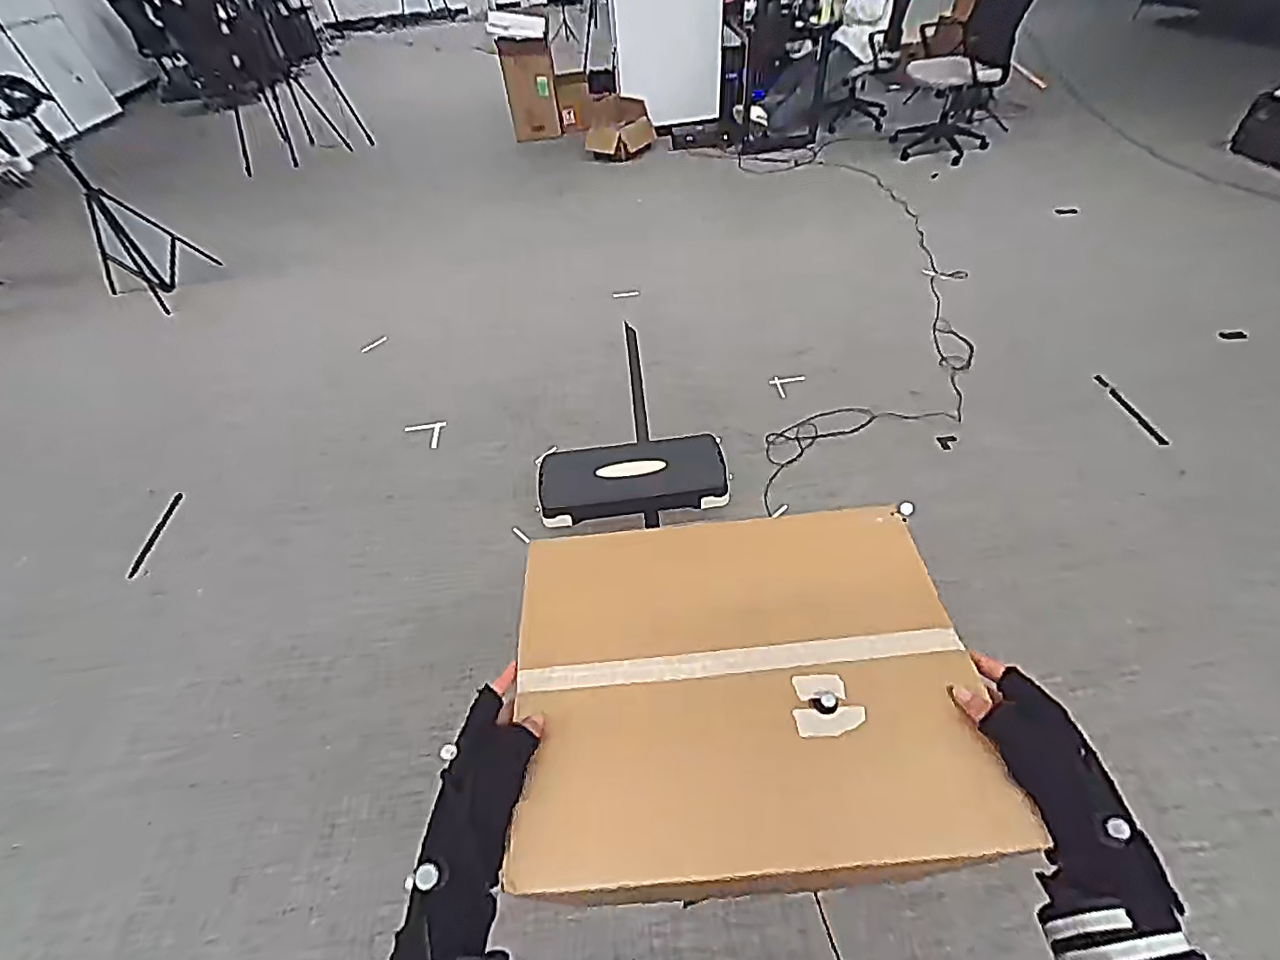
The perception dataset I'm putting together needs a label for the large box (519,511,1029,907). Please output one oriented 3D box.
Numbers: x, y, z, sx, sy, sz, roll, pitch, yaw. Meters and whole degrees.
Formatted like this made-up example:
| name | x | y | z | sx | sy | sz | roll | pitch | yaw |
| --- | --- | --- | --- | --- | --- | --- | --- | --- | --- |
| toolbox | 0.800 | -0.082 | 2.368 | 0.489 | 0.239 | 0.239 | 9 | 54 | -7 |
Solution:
| name | x | y | z | sx | sy | sz | roll | pitch | yaw |
| --- | --- | --- | --- | --- | --- | --- | --- | --- | --- |
| large box | 0.099 | 0.267 | 0.619 | 0.408 | 0.320 | 0.320 | -6 | 50 | 0 |
